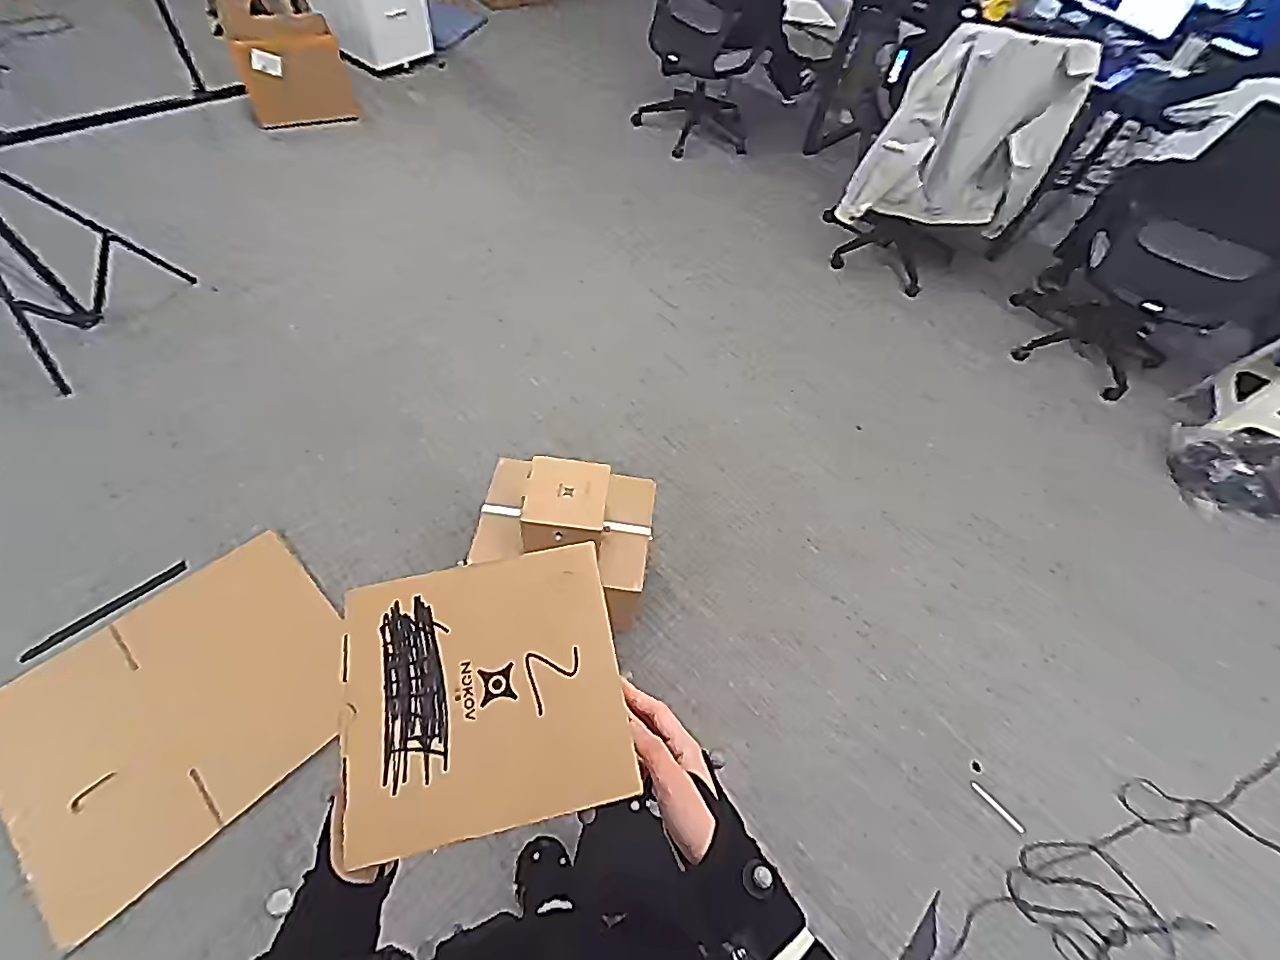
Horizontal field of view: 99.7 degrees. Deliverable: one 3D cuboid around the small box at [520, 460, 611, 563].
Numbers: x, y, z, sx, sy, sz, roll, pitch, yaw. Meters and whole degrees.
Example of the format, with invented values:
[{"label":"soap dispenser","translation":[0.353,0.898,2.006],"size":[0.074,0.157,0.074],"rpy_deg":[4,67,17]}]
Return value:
[{"label":"small box","translation":[-0.163,0.076,1.218],"size":[0.179,0.176,0.168],"rpy_deg":[7,58,-4]}]
